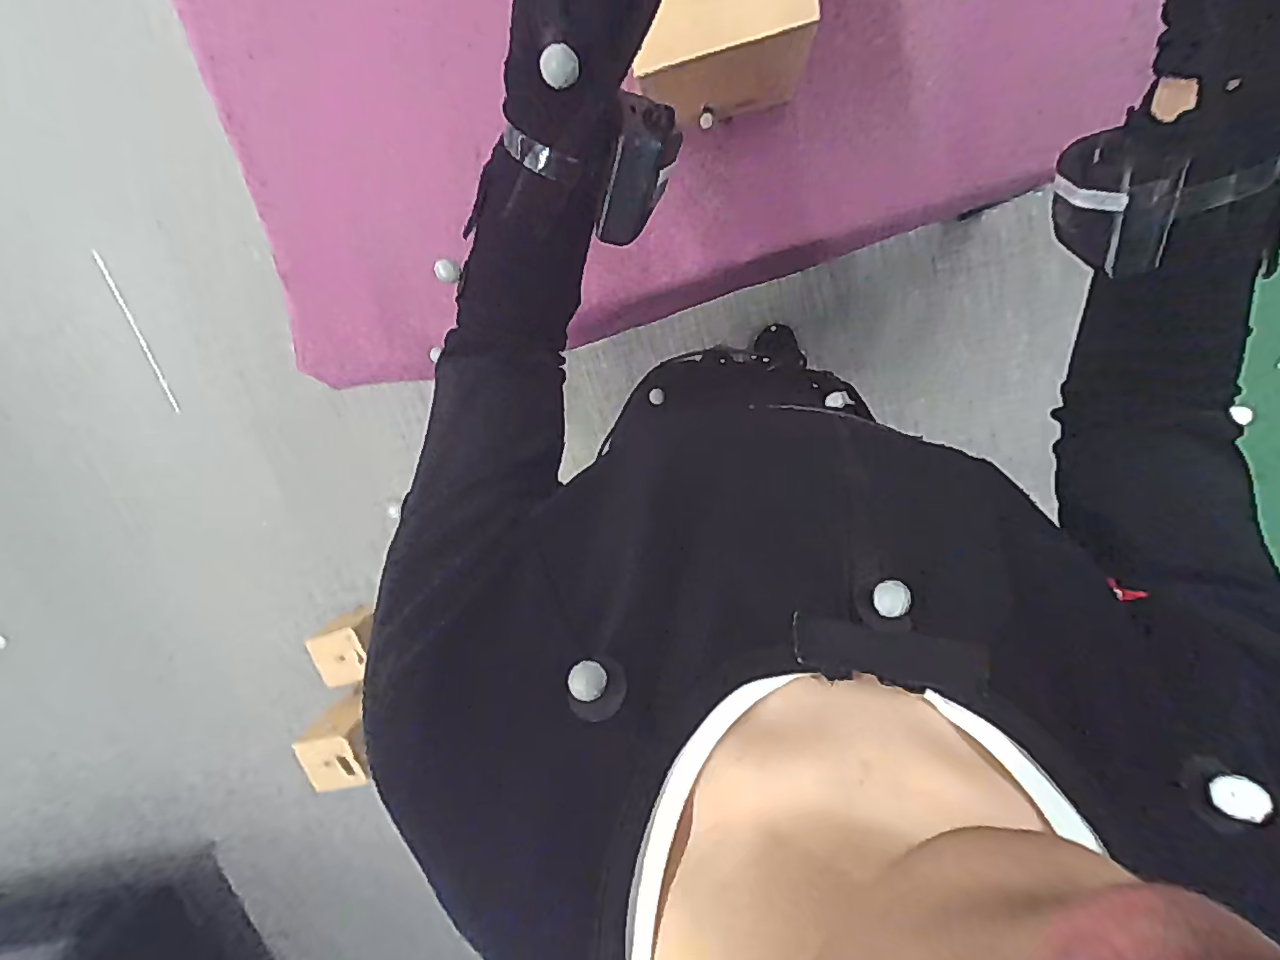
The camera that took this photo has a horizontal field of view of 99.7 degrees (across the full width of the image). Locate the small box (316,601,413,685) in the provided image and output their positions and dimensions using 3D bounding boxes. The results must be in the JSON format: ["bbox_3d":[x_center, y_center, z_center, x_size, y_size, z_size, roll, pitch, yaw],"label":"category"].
[{"bbox_3d":[-0.848,0.502,1.680,0.179,0.176,0.168,-18,103,12],"label":"small box"}]

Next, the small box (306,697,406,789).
[{"bbox_3d":[-0.814,0.760,1.577,0.179,0.176,0.168,-16,103,12],"label":"small box"}]

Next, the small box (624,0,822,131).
[{"bbox_3d":[0.069,-0.481,0.526,0.168,0.176,0.179,-10,105,11],"label":"small box"}]
